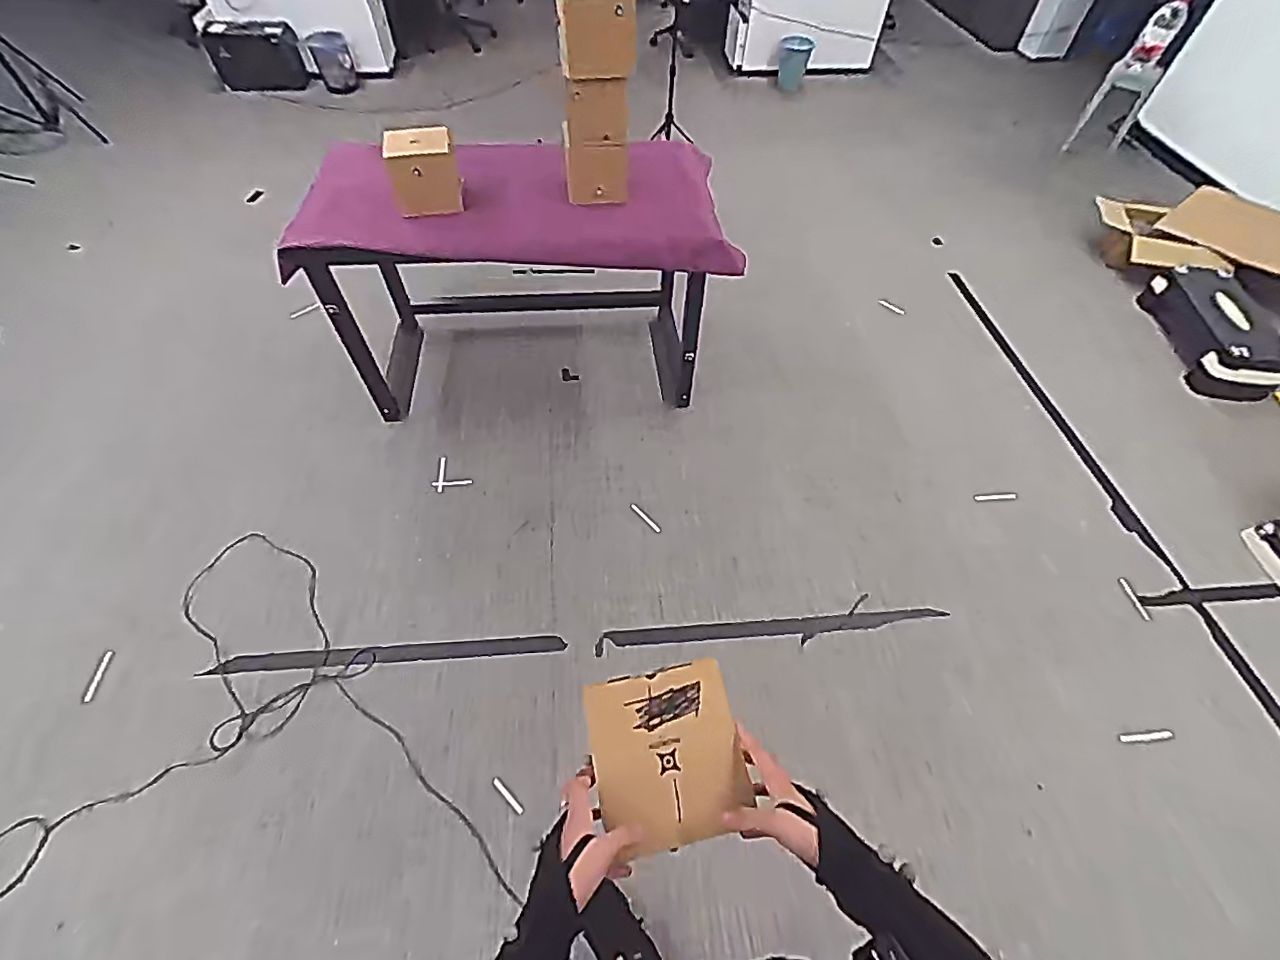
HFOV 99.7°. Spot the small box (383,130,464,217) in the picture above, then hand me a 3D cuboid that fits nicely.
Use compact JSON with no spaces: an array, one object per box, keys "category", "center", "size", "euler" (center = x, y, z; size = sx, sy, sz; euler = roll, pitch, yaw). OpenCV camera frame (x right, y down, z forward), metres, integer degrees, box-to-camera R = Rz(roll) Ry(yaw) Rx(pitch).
[{"category":"small box","center":[-0.619,-0.880,1.559],"size":[0.179,0.176,0.168],"euler":[-10,55,-9]}]

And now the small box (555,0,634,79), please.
[{"category":"small box","center":[-0.113,-1.126,1.348],"size":[0.179,0.176,0.168],"euler":[-9,55,-8]}]

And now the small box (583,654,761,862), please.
[{"category":"small box","center":[0.025,0.330,0.654],"size":[0.168,0.176,0.179],"euler":[-10,63,-8]}]

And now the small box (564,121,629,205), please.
[{"category":"small box","center":[-0.132,-0.949,1.624],"size":[0.179,0.176,0.168],"euler":[-6,54,-6]}]
